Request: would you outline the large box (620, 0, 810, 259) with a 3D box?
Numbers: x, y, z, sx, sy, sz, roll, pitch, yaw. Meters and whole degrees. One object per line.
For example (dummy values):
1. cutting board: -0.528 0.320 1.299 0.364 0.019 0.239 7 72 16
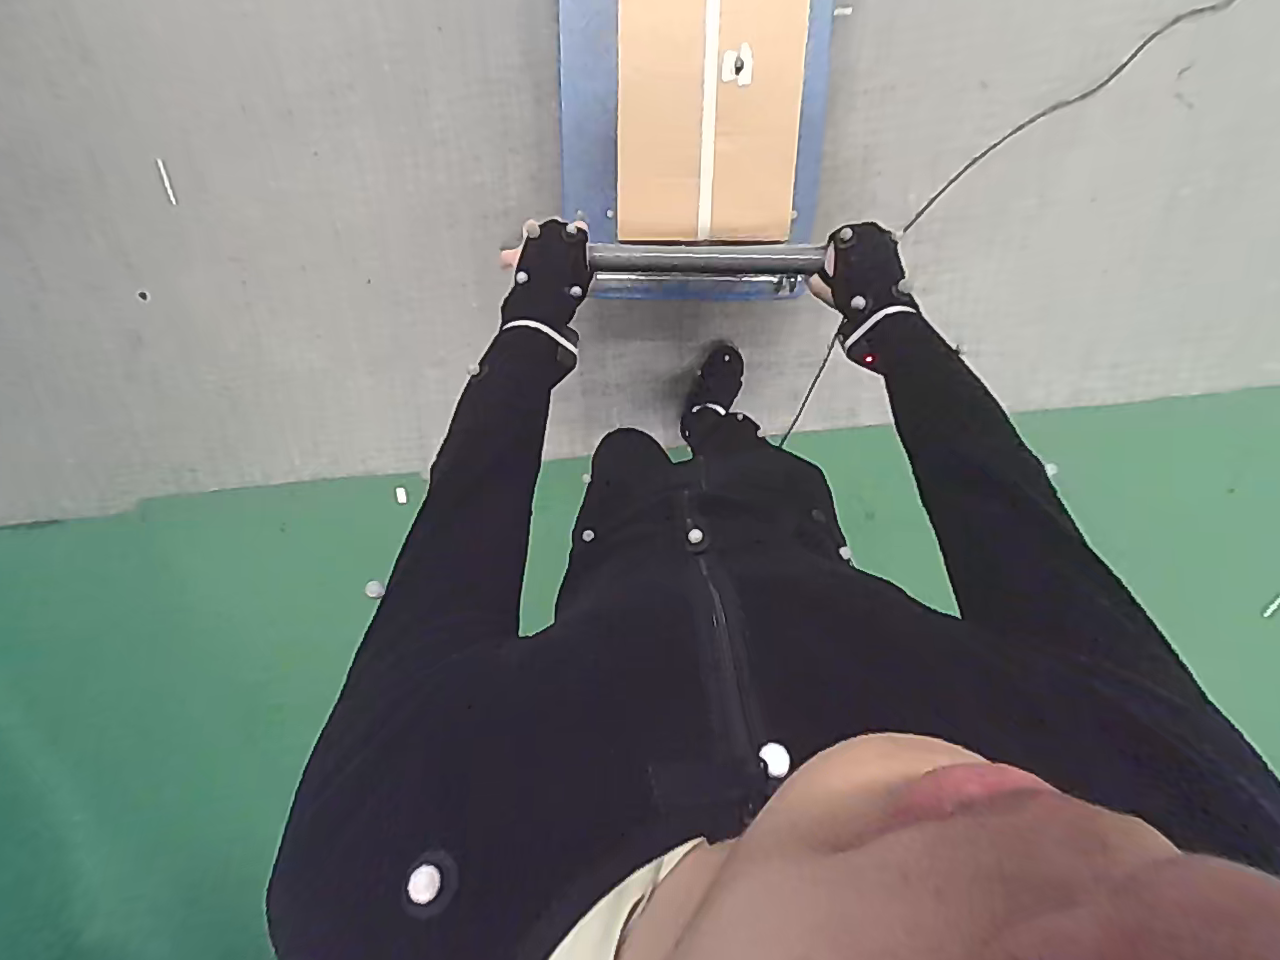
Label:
1. large box: 0.132 -0.666 1.059 0.320 0.320 0.408 2 106 3
